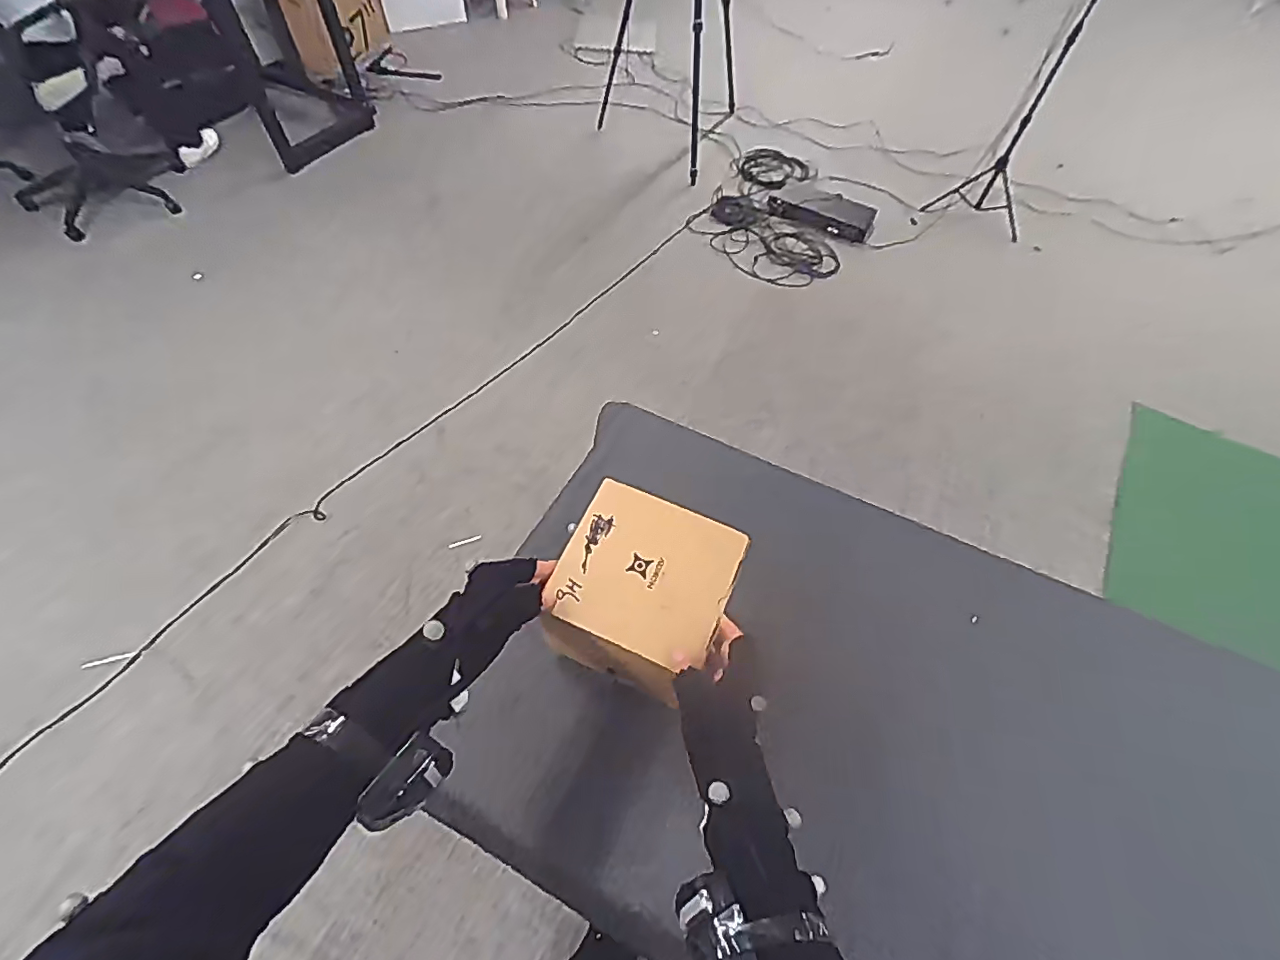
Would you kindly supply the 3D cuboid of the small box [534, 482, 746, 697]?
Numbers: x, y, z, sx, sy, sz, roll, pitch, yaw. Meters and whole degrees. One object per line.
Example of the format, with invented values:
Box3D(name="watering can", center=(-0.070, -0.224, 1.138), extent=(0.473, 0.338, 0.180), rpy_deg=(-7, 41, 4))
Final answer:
Box3D(name="small box", center=(-0.001, 0.136, 0.632), extent=(0.179, 0.176, 0.168), rpy_deg=(23, 60, 8))
